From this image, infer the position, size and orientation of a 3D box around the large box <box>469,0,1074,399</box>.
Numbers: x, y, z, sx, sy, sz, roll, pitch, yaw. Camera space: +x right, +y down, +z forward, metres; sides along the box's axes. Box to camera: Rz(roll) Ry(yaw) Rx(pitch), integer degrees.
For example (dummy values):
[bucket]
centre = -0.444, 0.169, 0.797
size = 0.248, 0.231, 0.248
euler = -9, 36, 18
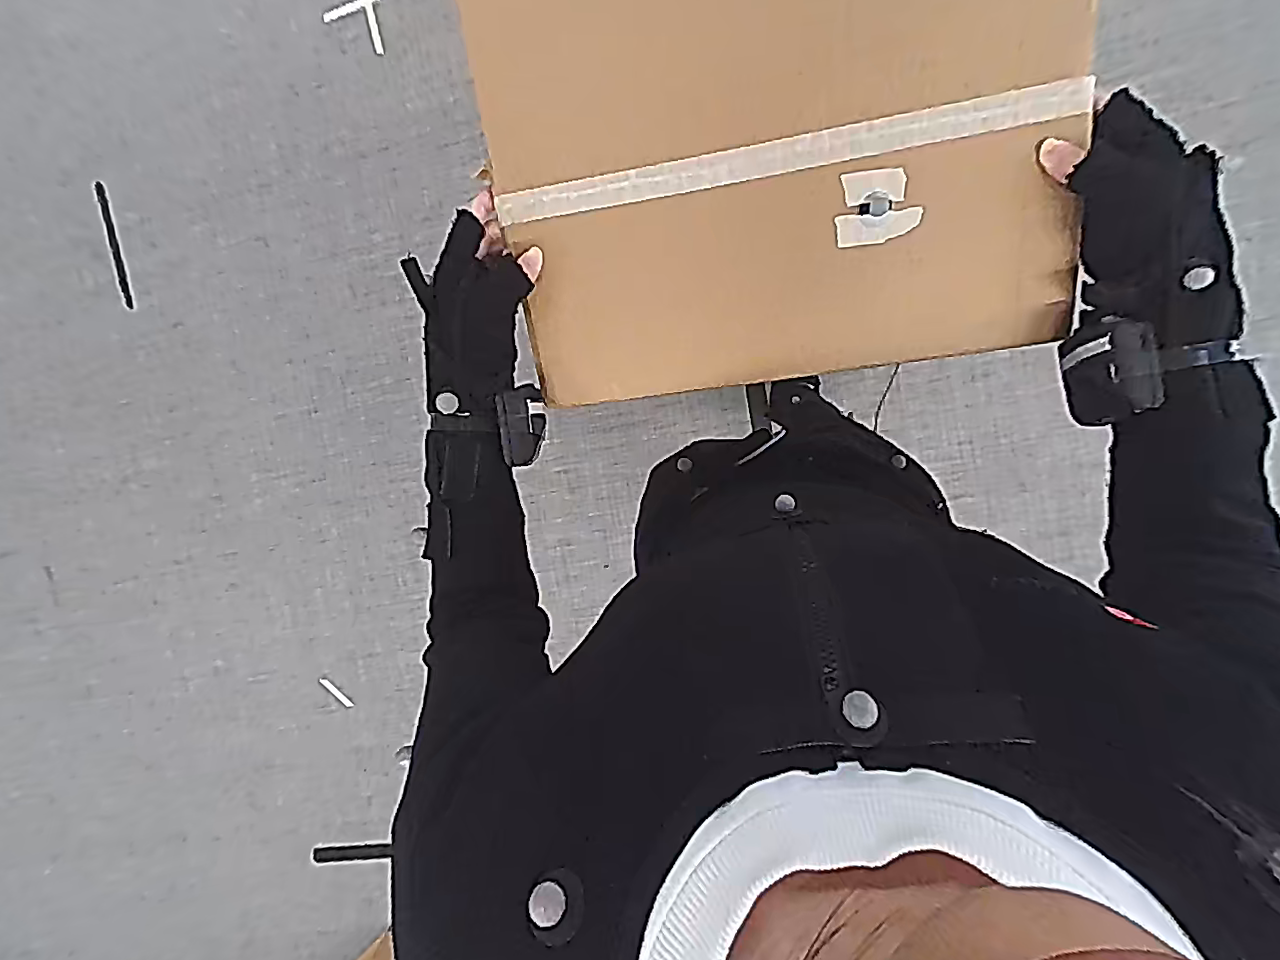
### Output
[large box]
centre = 0.109, -0.285, 0.538
size = 0.408, 0.320, 0.320
euler = -7, 109, 8
